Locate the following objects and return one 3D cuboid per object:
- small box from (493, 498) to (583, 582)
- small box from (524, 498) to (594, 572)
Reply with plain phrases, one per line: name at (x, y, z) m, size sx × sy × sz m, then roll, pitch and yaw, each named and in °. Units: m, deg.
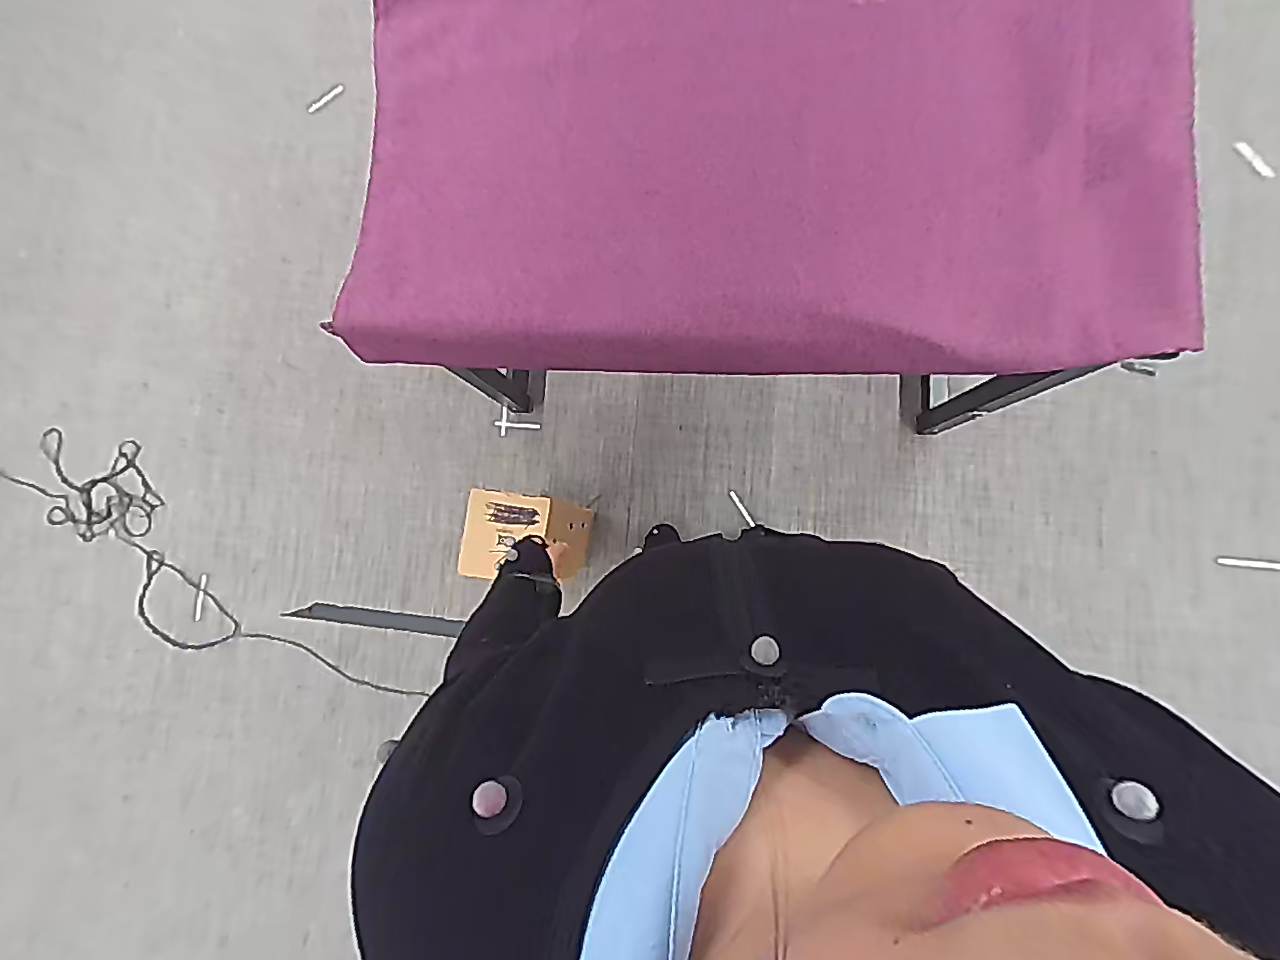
small box at (-0.236, 0.142, 1.296) m, size 0.168 × 0.176 × 0.179 m, roll 5°, pitch 86°, yaw 6°
small box at (-0.229, 0.154, 1.461) m, size 0.168 × 0.176 × 0.179 m, roll 11°, pitch 86°, yaw 6°
